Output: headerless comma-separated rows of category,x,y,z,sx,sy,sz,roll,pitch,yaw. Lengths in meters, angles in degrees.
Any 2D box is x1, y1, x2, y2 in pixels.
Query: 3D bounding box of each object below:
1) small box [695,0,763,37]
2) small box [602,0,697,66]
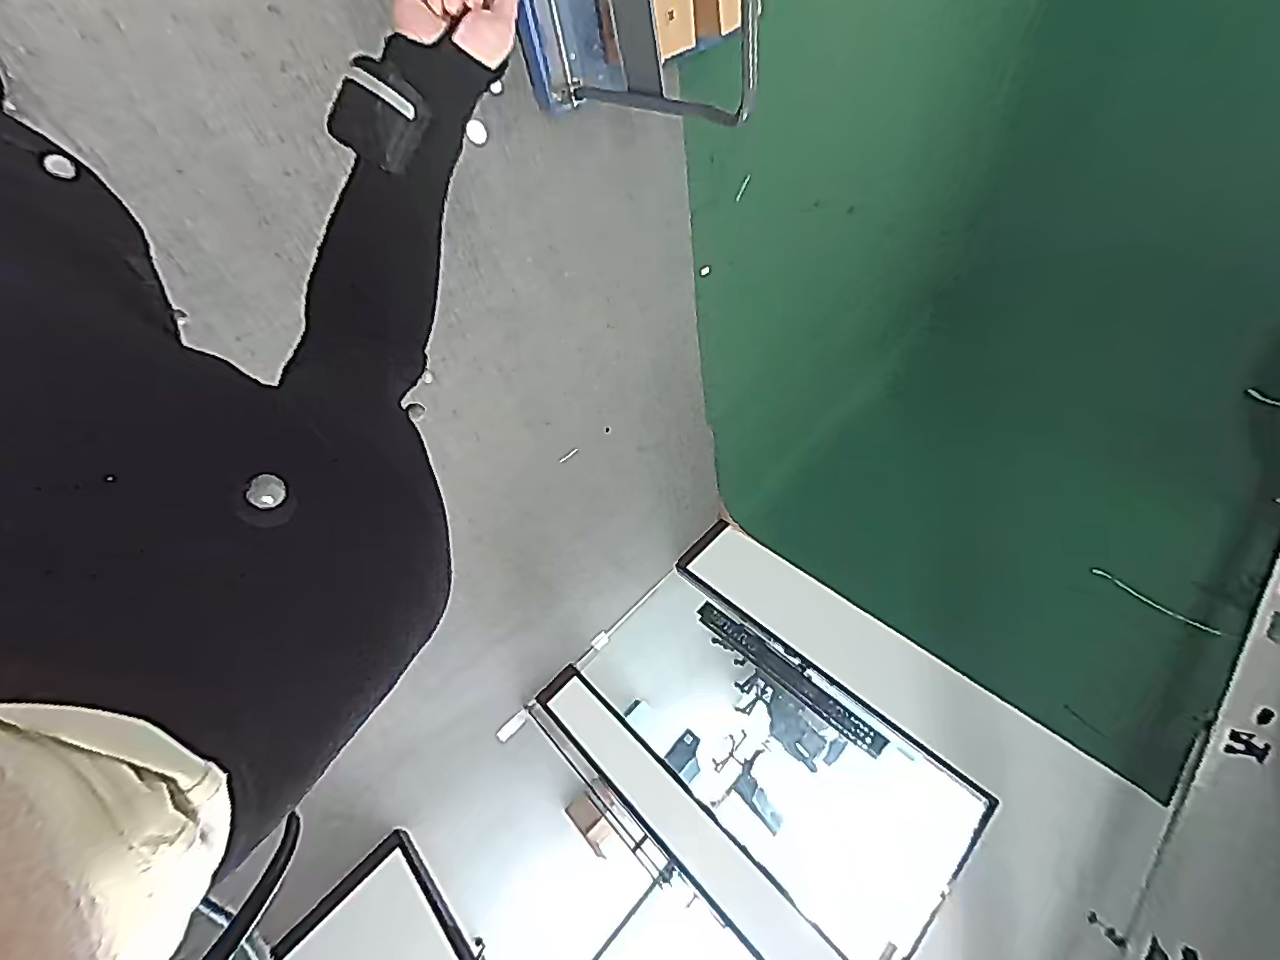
small box,0.220,-1.367,1.503,0.179,0.176,0.168,-42,142,-18
small box,0.026,-1.205,1.406,0.179,0.176,0.168,-39,142,-21
